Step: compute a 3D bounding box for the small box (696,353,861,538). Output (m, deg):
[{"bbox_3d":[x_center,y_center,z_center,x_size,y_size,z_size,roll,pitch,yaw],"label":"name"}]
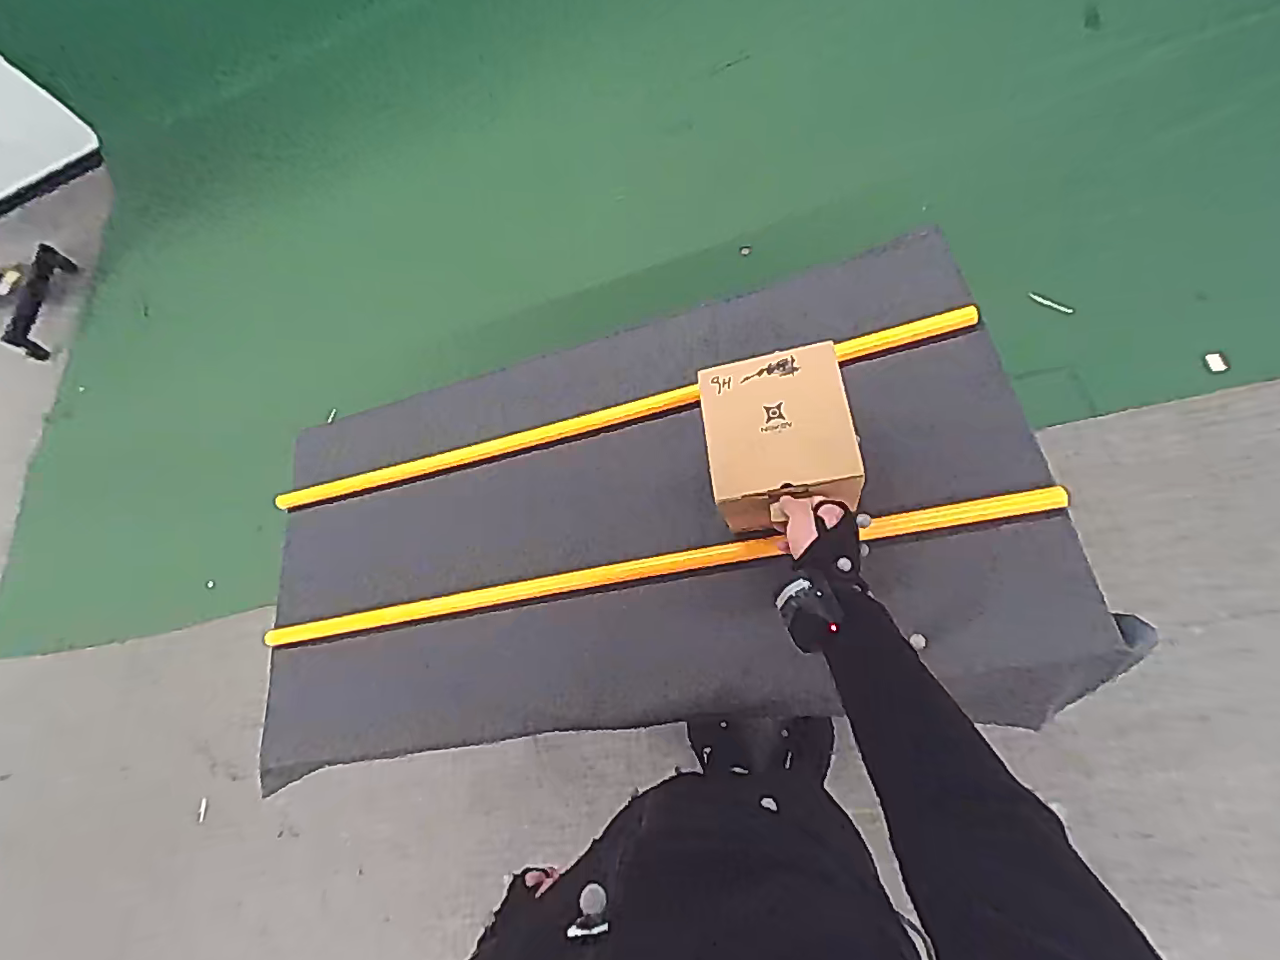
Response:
[{"bbox_3d":[0.183,-0.030,0.707,0.168,0.176,0.179,-14,67,15],"label":"small box"}]
